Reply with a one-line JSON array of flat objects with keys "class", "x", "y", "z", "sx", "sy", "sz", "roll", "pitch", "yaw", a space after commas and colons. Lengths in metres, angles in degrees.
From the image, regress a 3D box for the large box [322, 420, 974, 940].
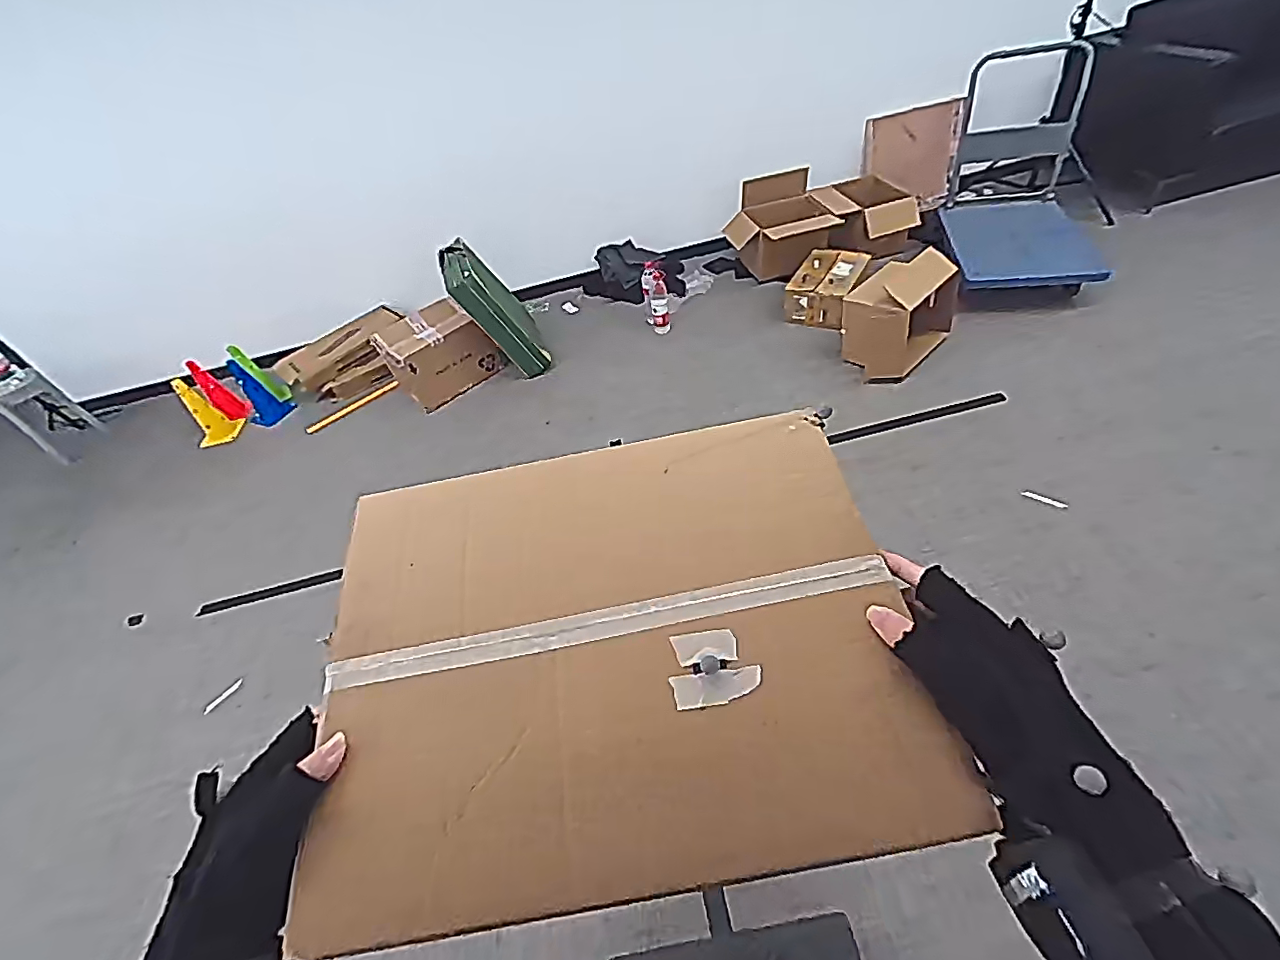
[{"class": "large box", "x": -0.003, "y": 0.190, "z": 0.523, "sx": 0.408, "sy": 0.320, "sz": 0.320, "roll": -11, "pitch": 56, "yaw": 0}]
